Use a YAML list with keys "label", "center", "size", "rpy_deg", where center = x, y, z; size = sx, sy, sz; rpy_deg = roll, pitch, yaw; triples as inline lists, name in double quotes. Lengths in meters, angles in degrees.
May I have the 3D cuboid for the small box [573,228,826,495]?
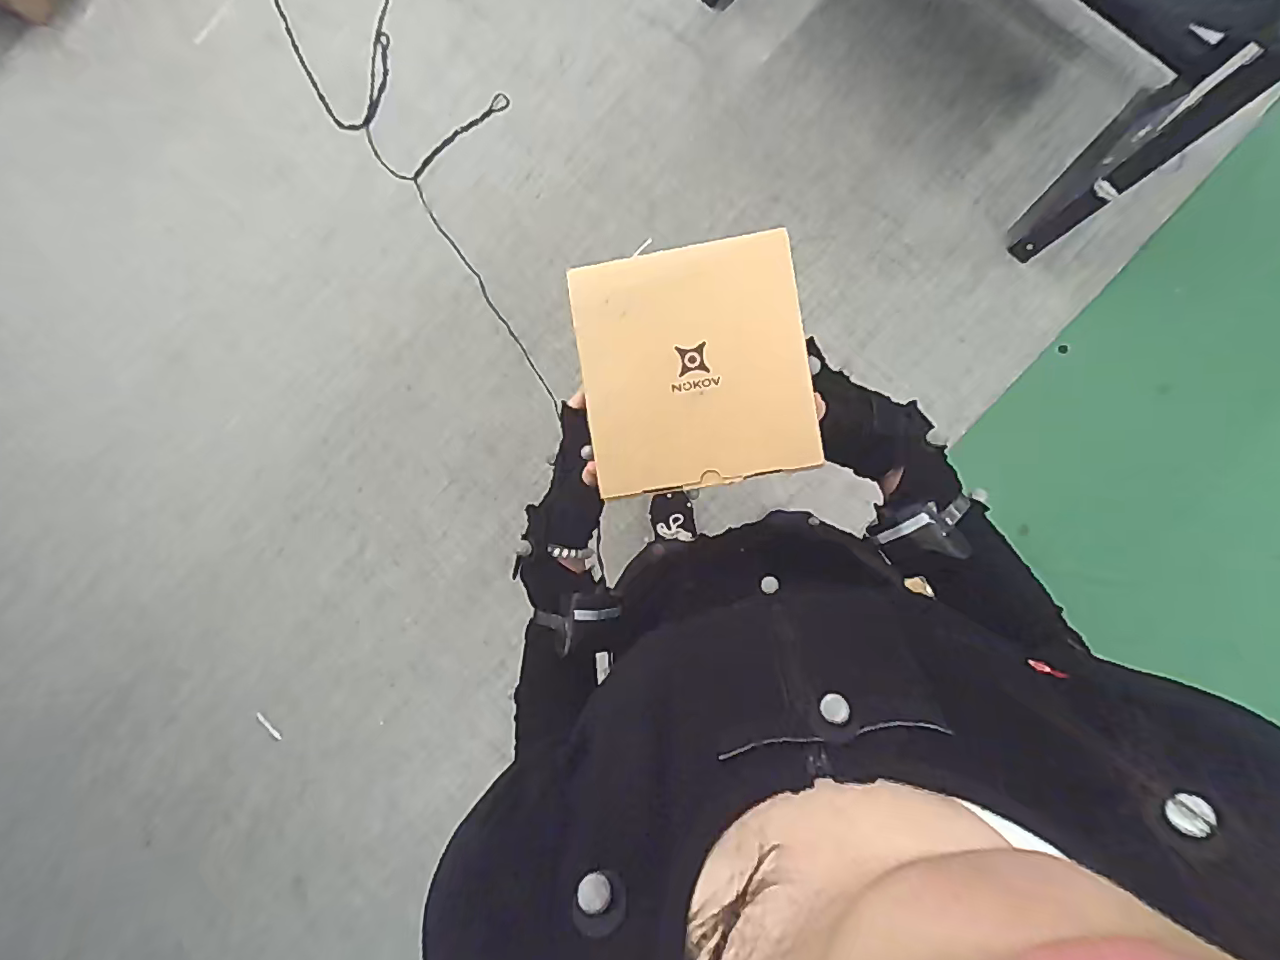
- label: "small box"
  center: [0.045, -0.086, 0.473]
  size: [0.168, 0.176, 0.179]
  rpy_deg: [-9, 91, 3]
